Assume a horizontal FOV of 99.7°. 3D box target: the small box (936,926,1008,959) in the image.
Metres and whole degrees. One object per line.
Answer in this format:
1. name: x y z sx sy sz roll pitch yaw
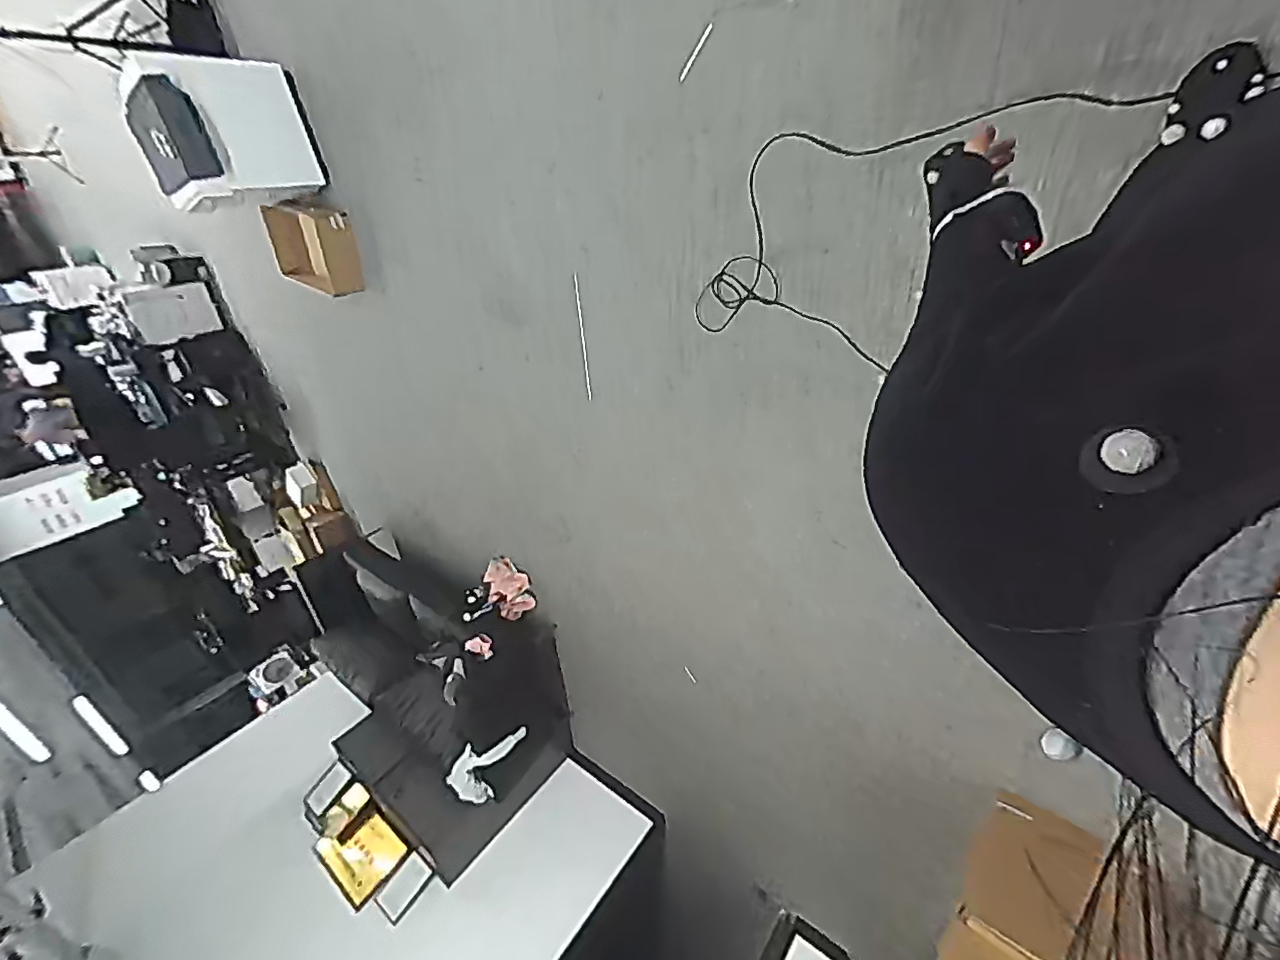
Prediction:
1. small box: 0.907 1.375 1.461 0.179 0.176 0.168 22 126 32
